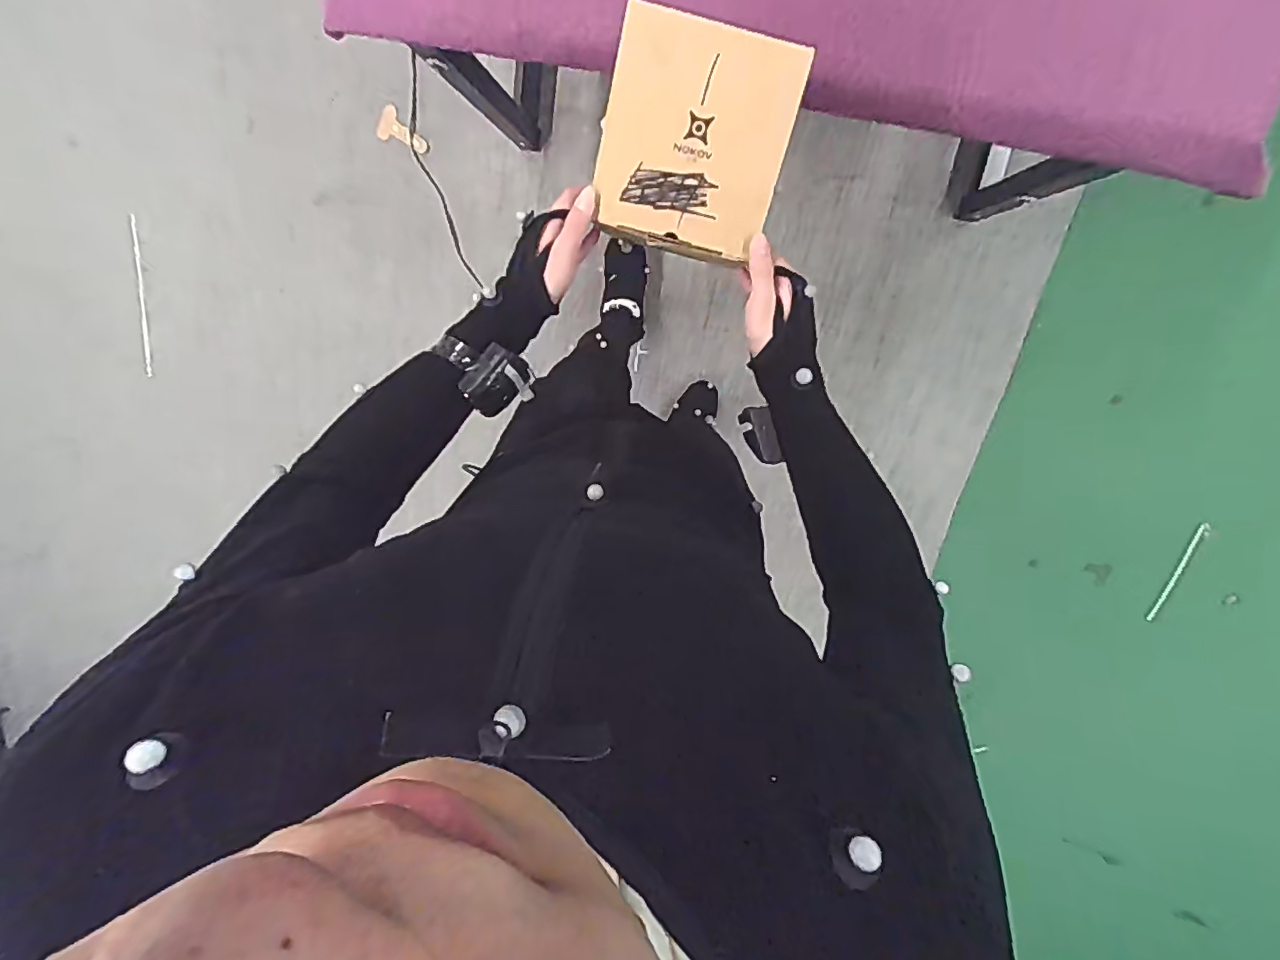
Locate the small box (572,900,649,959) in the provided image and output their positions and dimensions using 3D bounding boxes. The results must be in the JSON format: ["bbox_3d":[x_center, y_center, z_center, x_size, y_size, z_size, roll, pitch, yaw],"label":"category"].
[{"bbox_3d":[-0.078,1.170,1.298,0.168,0.176,0.179,15,108,0],"label":"small box"}]

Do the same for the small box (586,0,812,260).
[{"bbox_3d":[0.052,-0.338,0.557,0.168,0.176,0.179,14,108,-2],"label":"small box"}]
